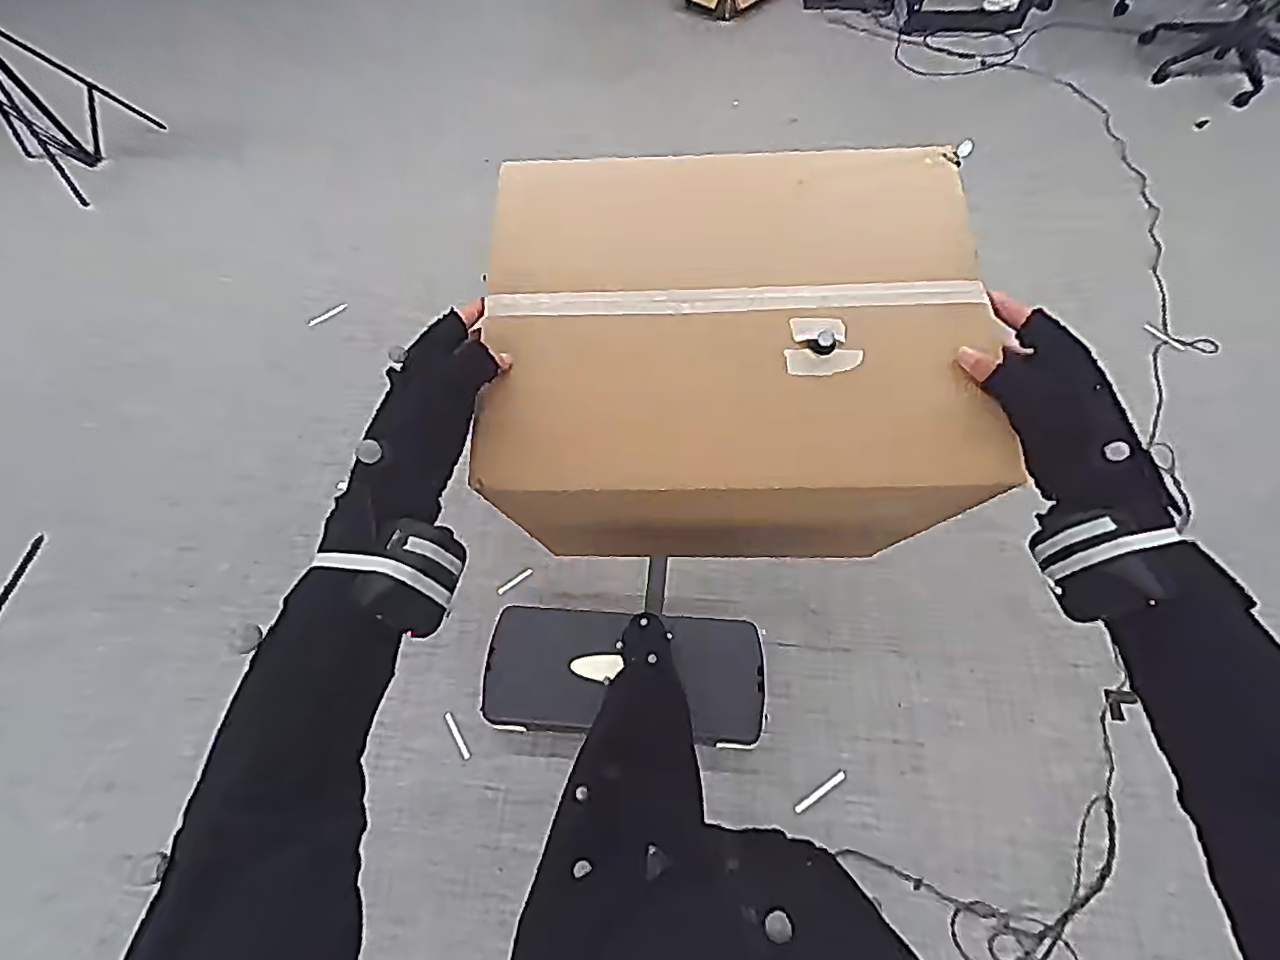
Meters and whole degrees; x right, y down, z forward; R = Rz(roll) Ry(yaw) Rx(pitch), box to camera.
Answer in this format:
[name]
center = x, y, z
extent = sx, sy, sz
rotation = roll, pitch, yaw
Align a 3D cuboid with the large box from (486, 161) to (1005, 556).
[large box]
center = 0.078, -0.098, 0.596
extent = 0.408, 0.320, 0.320
rotation = -1, 73, 2
